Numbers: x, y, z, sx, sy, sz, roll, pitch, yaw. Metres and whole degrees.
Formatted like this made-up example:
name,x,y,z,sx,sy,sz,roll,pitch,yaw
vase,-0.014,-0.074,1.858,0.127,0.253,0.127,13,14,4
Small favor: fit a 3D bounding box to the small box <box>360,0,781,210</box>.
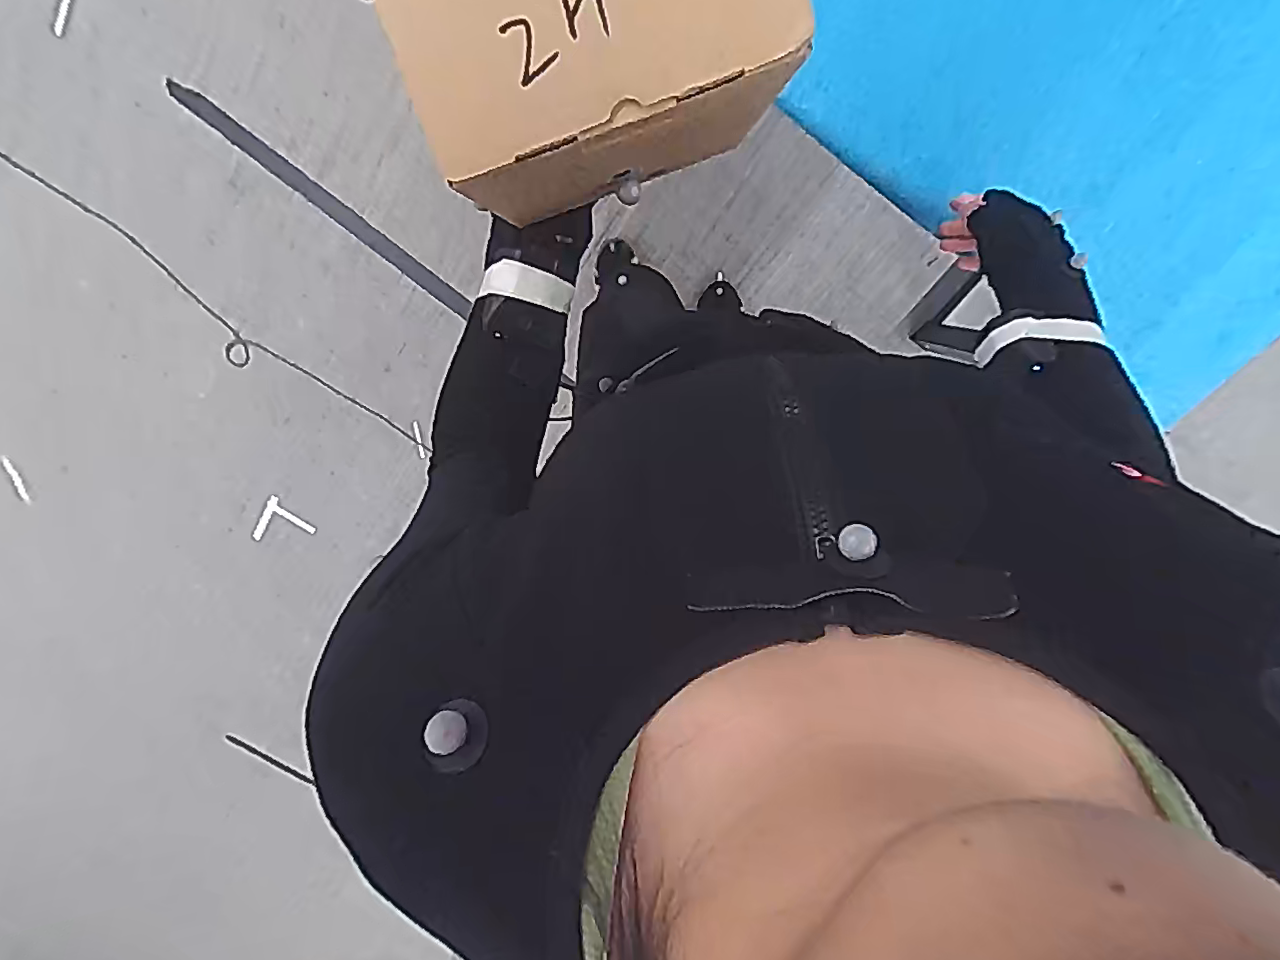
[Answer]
name,x,y,z,sx,sy,sz,roll,pitch,yaw
small box,-0.040,-0.258,0.278,0.168,0.176,0.179,-13,112,5
